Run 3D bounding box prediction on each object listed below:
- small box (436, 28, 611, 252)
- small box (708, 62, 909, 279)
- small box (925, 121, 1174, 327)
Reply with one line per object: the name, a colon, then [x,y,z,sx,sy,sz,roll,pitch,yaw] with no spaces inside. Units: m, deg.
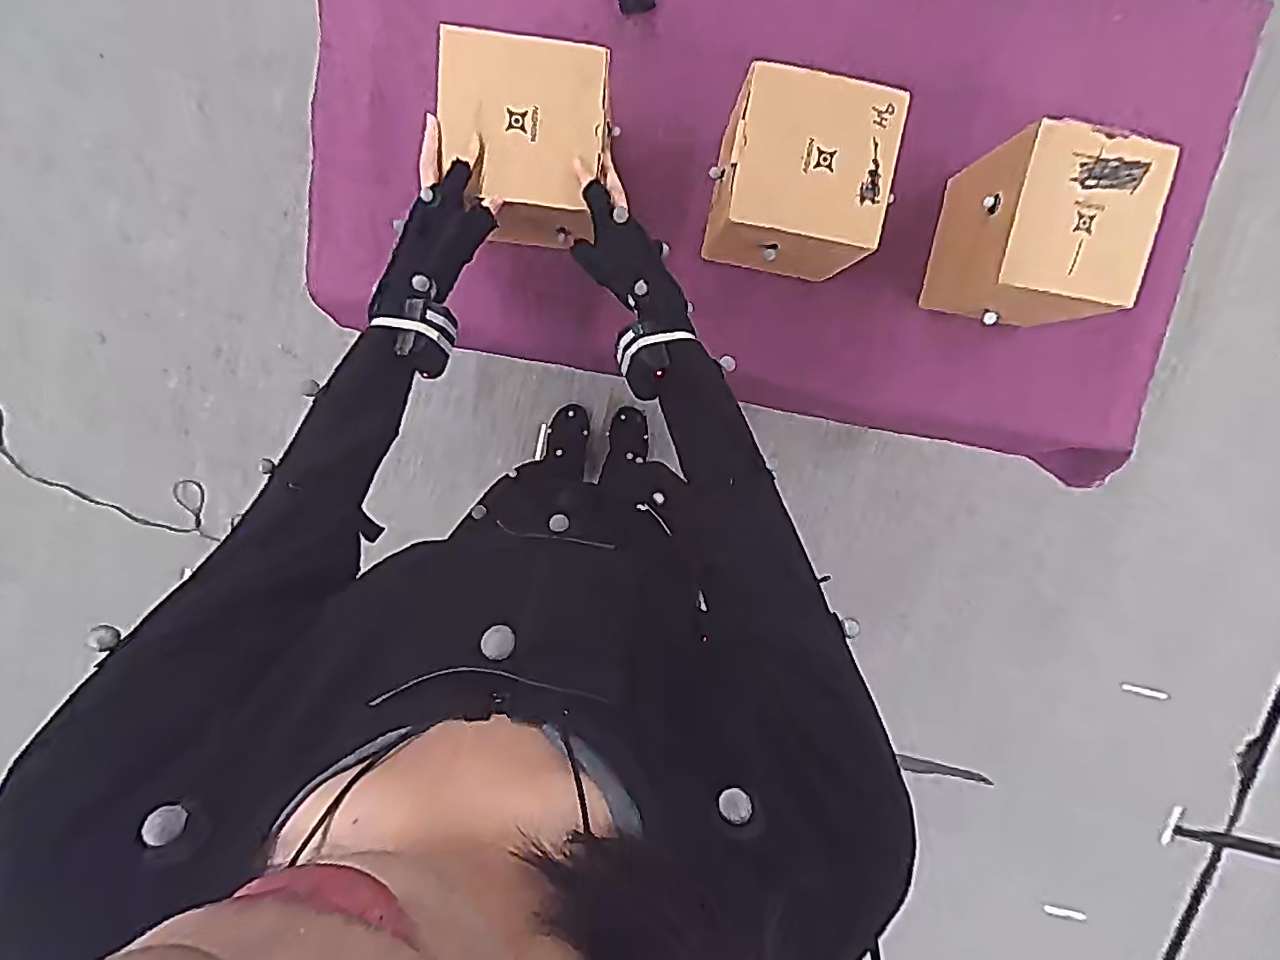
small box: [-0.127,-0.385,0.648,0.179,0.176,0.168,5,96,-2]
small box: [0.188,-0.359,0.663,0.179,0.176,0.168,9,97,-3]
small box: [0.494,-0.305,0.682,0.168,0.176,0.179,9,98,-3]
